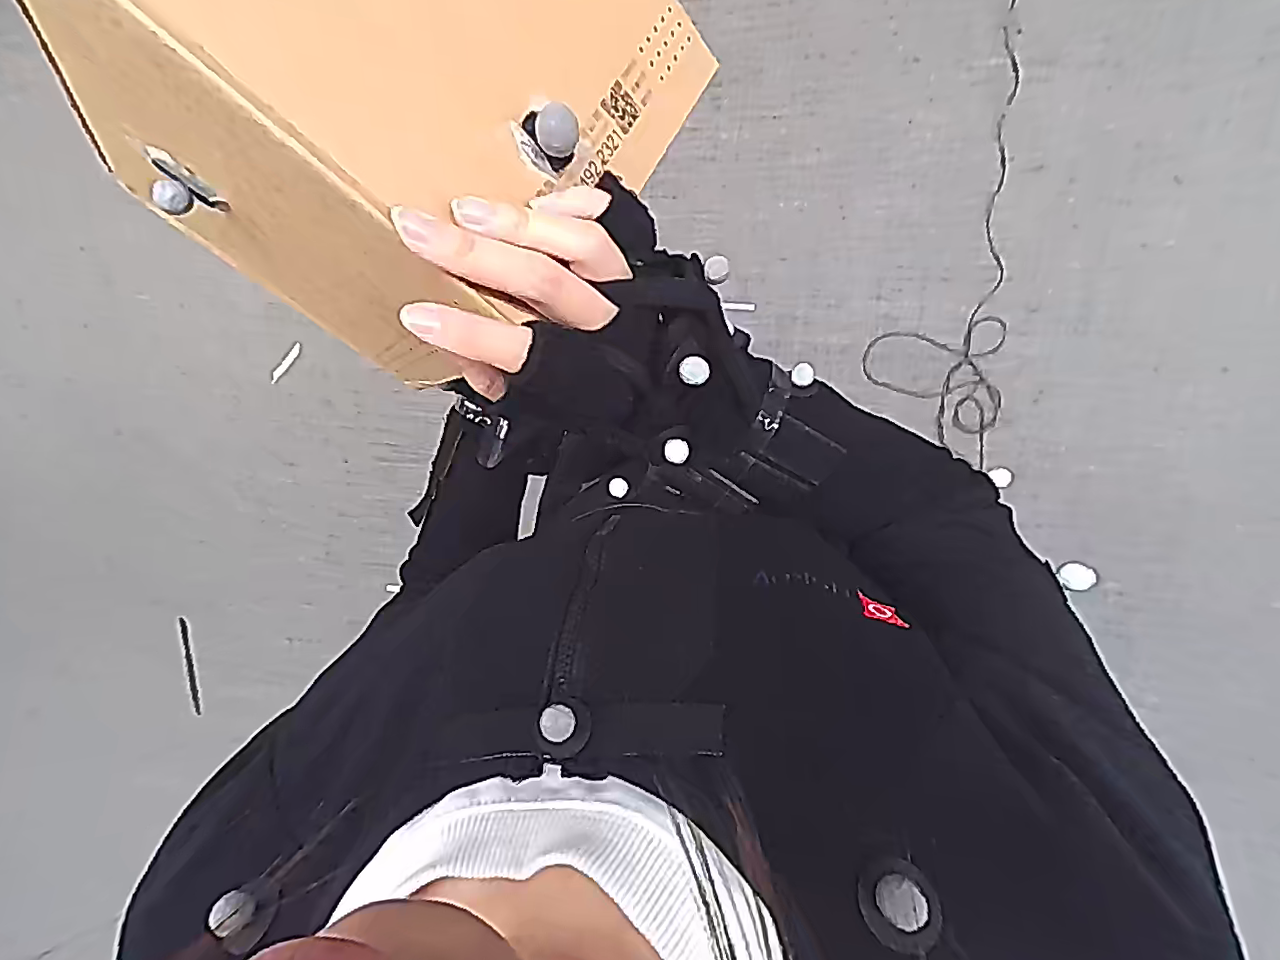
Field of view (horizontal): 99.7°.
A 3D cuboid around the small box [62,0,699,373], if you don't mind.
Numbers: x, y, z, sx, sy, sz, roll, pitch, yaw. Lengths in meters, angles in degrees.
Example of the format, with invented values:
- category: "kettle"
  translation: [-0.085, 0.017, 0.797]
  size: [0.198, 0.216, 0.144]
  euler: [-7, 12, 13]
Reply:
- category: "small box"
  translation: [-0.106, -0.169, 0.266]
  size: [0.176, 0.179, 0.168]
  euler: [36, 72, -32]
